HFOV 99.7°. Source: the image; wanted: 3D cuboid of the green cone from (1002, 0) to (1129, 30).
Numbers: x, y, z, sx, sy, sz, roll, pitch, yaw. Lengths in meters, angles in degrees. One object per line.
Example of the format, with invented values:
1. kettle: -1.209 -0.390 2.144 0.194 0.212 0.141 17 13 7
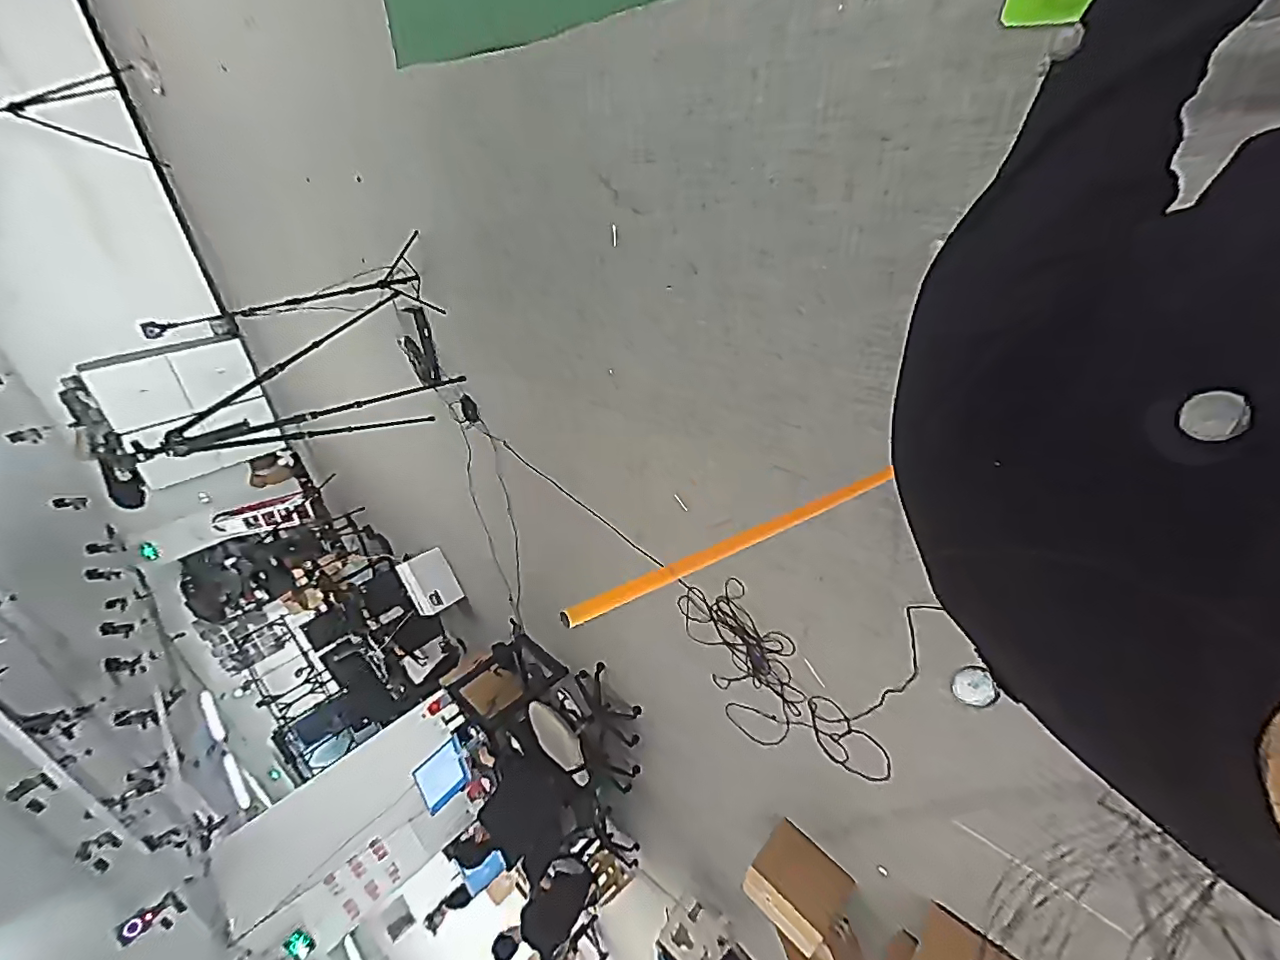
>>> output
1. green cone: 0.654 -0.859 0.849 0.202 0.368 0.200 30 134 36
